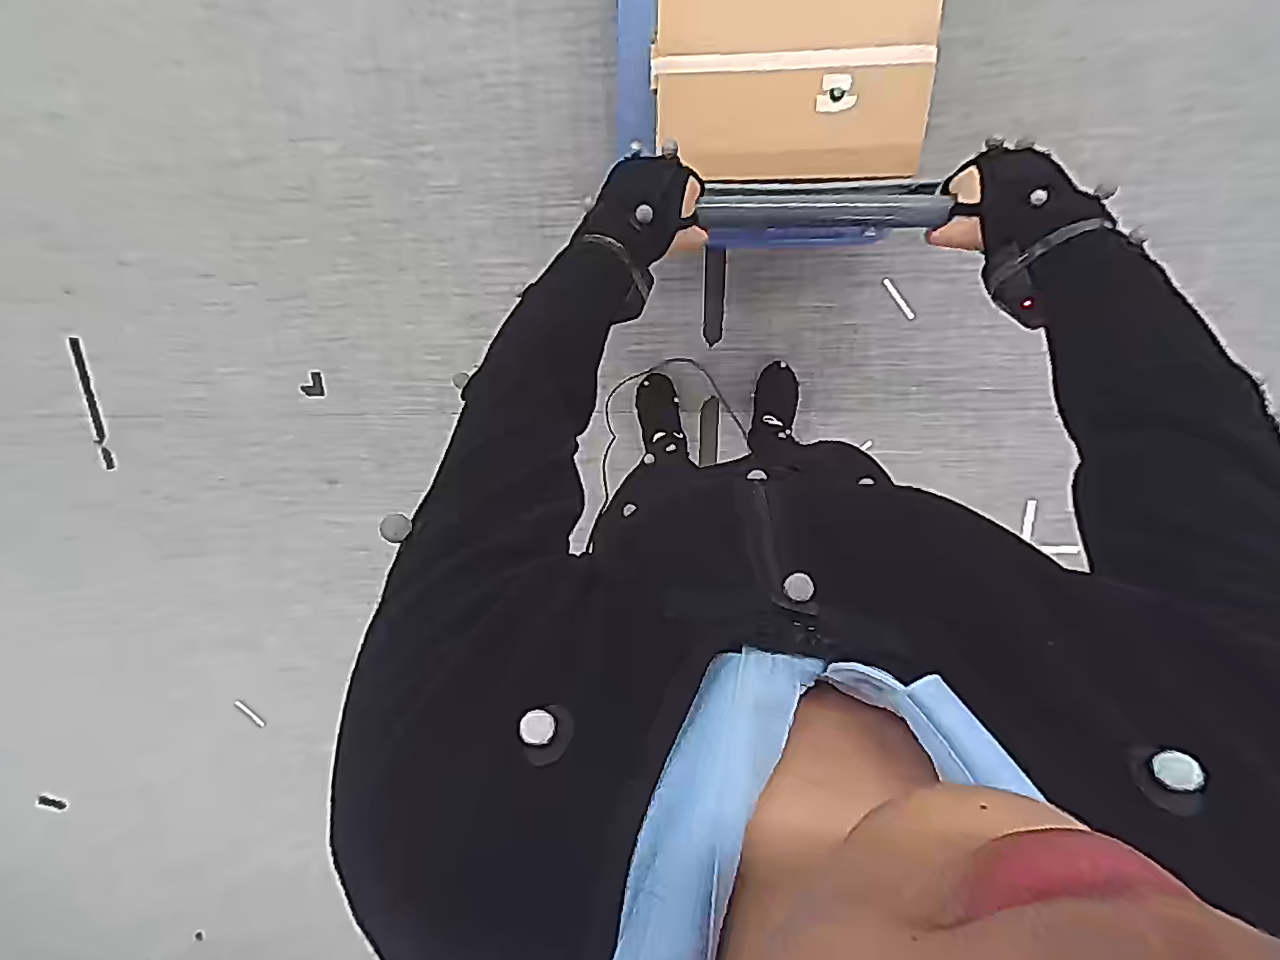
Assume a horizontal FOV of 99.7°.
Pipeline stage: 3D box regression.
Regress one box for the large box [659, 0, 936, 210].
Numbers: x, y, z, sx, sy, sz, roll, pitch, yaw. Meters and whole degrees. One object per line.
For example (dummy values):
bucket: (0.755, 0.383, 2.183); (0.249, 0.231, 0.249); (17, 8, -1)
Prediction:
large box: (0.240, -0.674, 0.954); (0.408, 0.320, 0.320); (1, 110, 5)
